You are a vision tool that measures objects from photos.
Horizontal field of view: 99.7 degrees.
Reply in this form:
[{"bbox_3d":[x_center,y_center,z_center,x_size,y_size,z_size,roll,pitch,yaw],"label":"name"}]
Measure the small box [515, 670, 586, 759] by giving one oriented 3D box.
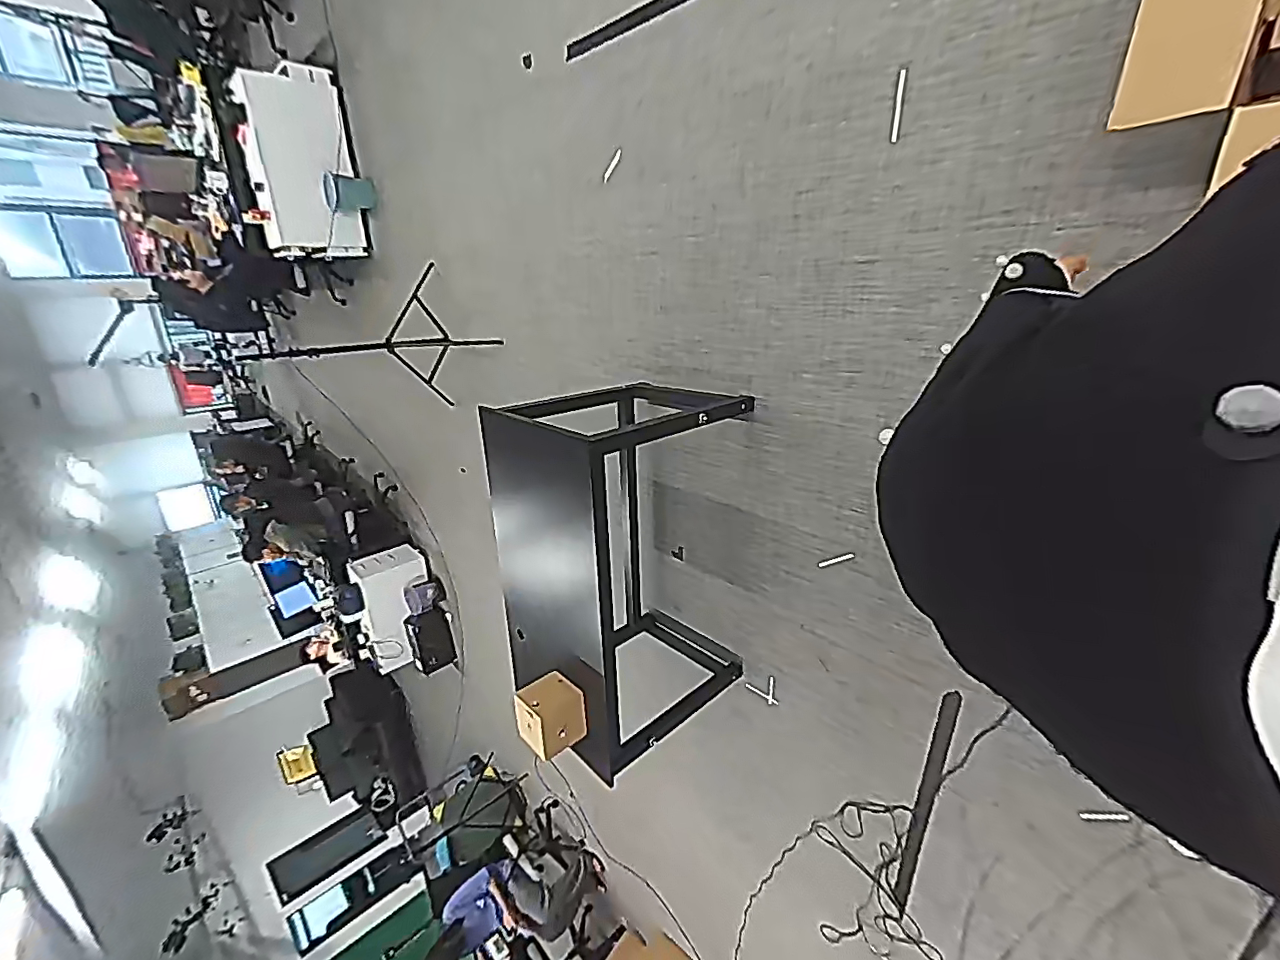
[{"bbox_3d":[-0.294,0.772,1.801,0.168,0.176,0.179,17,118,45],"label":"small box"}]
